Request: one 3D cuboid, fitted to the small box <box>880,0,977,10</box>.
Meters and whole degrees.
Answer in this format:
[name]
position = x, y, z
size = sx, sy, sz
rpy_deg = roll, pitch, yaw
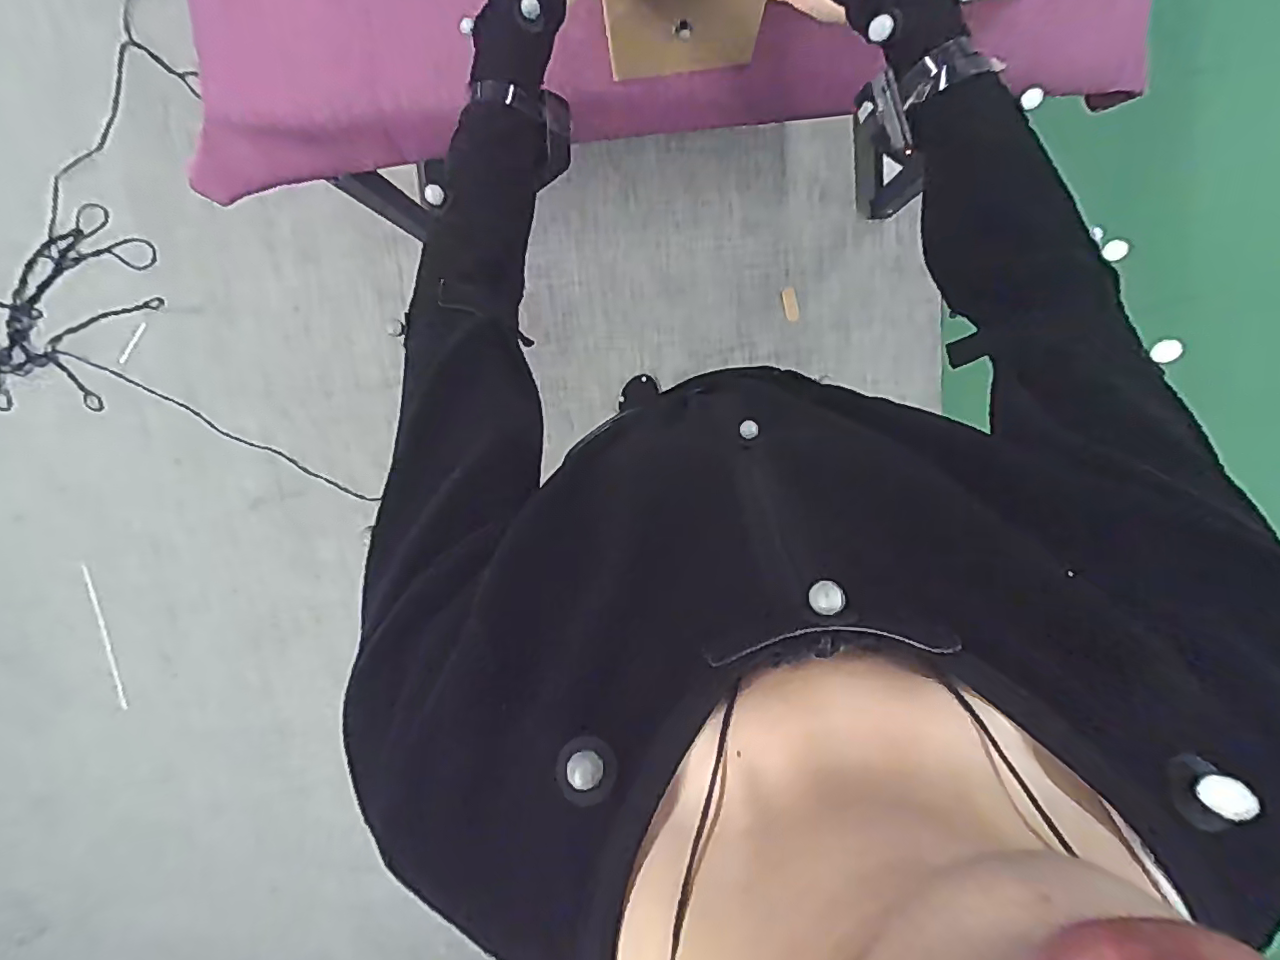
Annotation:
[small box]
position = 0.372, -0.654, 0.575
size = 0.179, 0.176, 0.168
rpy_deg = -5, 96, 4
